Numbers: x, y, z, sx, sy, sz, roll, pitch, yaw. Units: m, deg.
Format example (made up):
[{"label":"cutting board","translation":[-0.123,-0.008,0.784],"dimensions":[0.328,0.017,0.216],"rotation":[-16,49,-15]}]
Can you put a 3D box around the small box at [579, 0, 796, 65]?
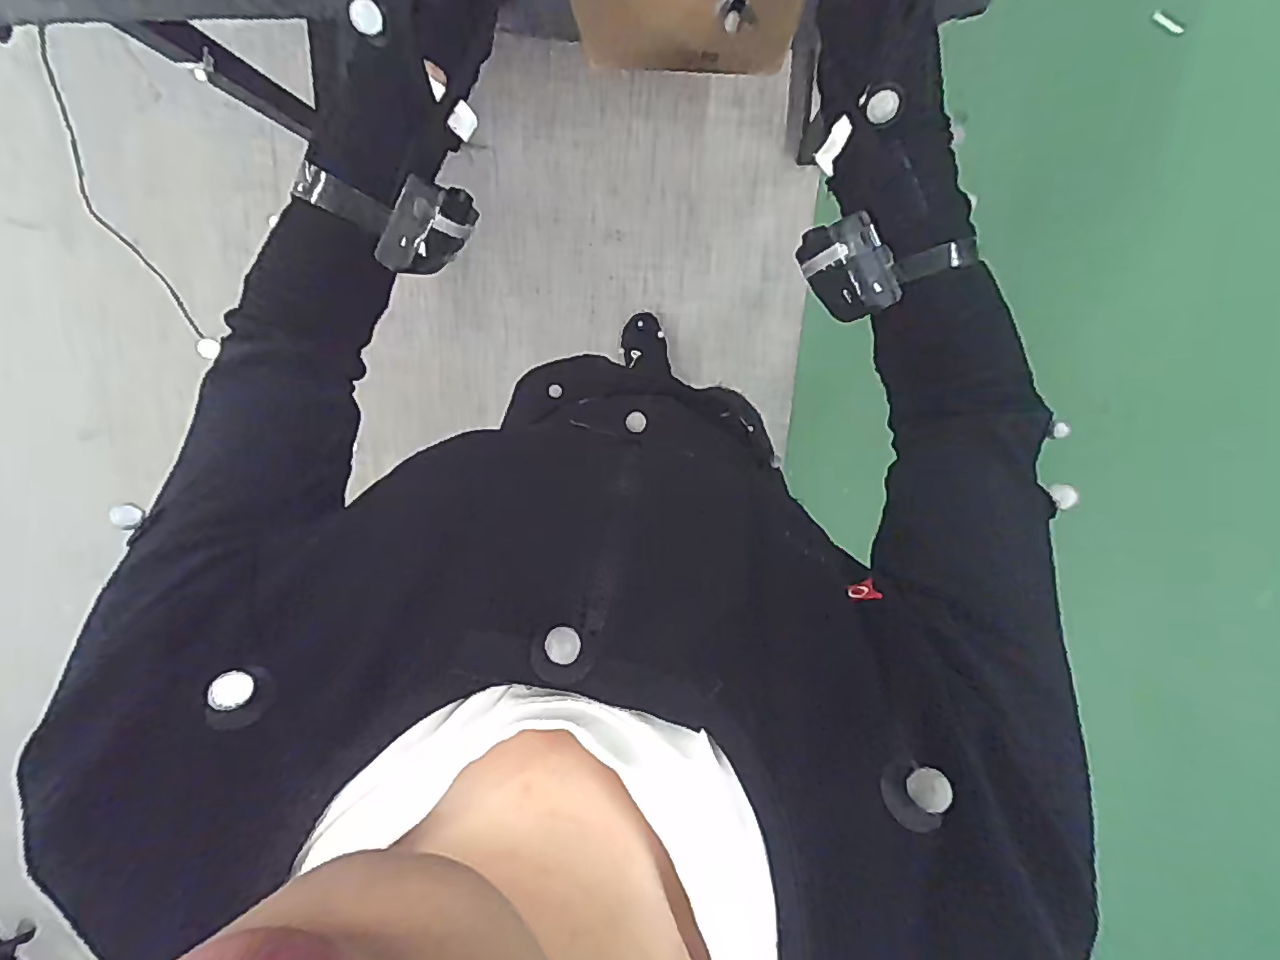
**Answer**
[{"label":"small box","translation":[0.038,-0.426,0.372],"dimensions":[0.168,0.176,0.179],"rotation":[5,101,3]}]
